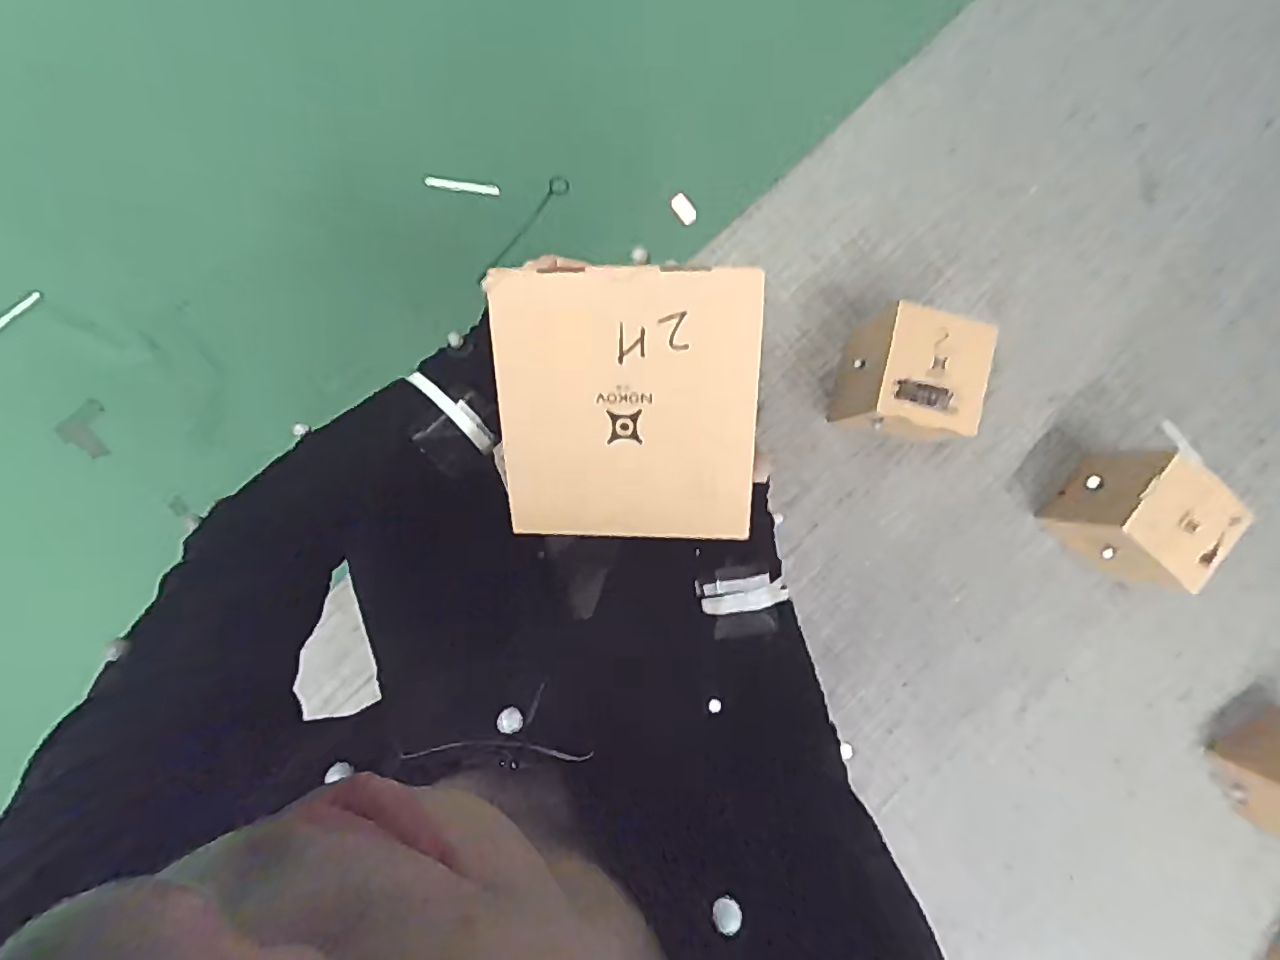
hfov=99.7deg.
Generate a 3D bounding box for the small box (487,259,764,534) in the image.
[{"bbox_3d":[-0.003,-0.075,0.418,0.168,0.176,0.179,1,110,4],"label":"small box"}]

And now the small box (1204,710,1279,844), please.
[{"bbox_3d":[1.204,0.553,0.977,0.179,0.176,0.168,-30,93,-4],"label":"small box"}]

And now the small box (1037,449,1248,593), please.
[{"bbox_3d":[0.854,0.068,0.939,0.179,0.176,0.168,40,87,-3],"label":"small box"}]
